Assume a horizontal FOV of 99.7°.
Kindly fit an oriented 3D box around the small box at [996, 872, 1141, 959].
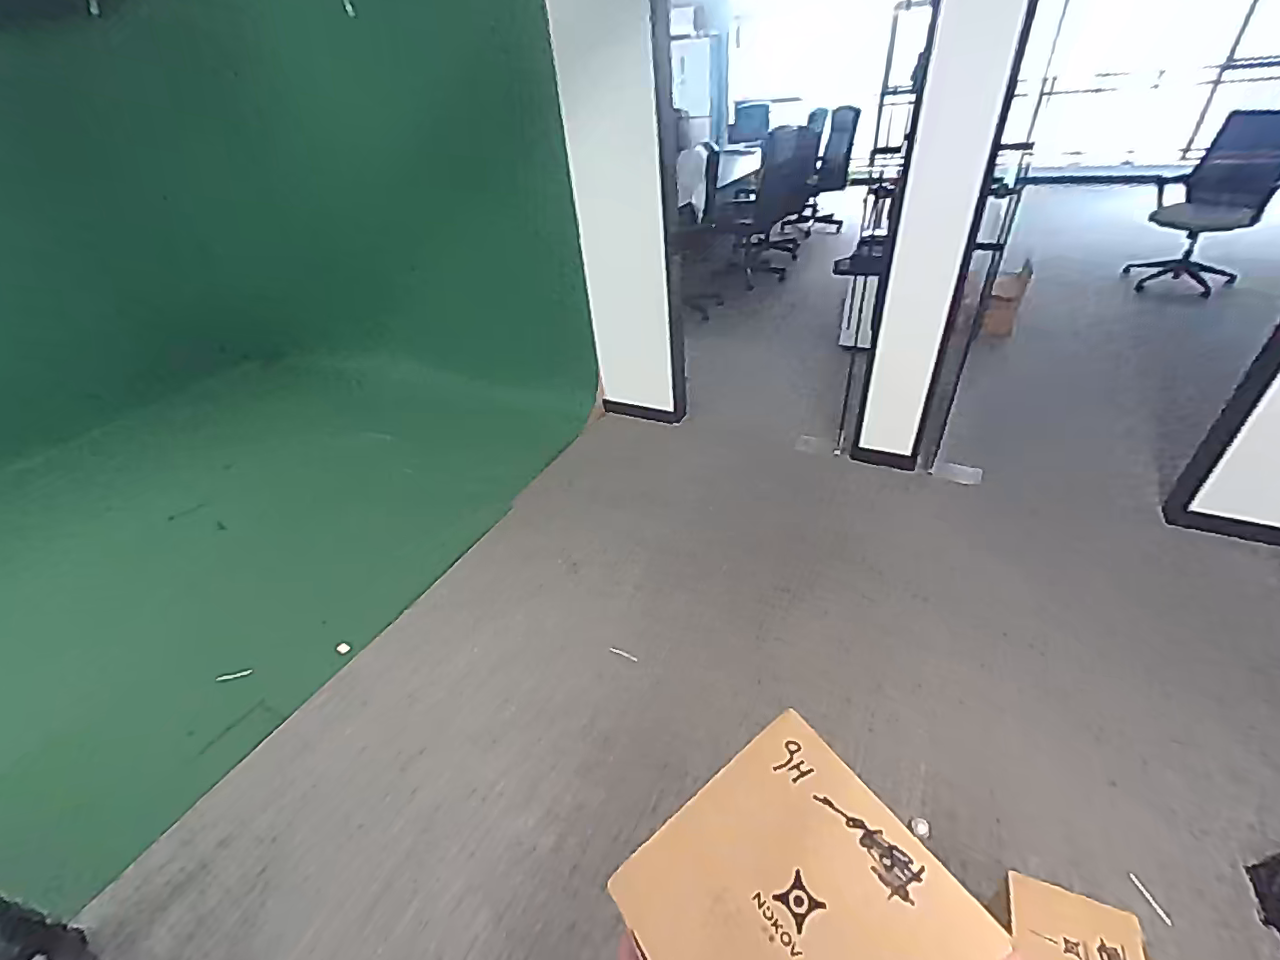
[{"bbox_3d":[0.665,0.781,0.861,0.179,0.176,0.168,9,38,24],"label":"small box"}]
